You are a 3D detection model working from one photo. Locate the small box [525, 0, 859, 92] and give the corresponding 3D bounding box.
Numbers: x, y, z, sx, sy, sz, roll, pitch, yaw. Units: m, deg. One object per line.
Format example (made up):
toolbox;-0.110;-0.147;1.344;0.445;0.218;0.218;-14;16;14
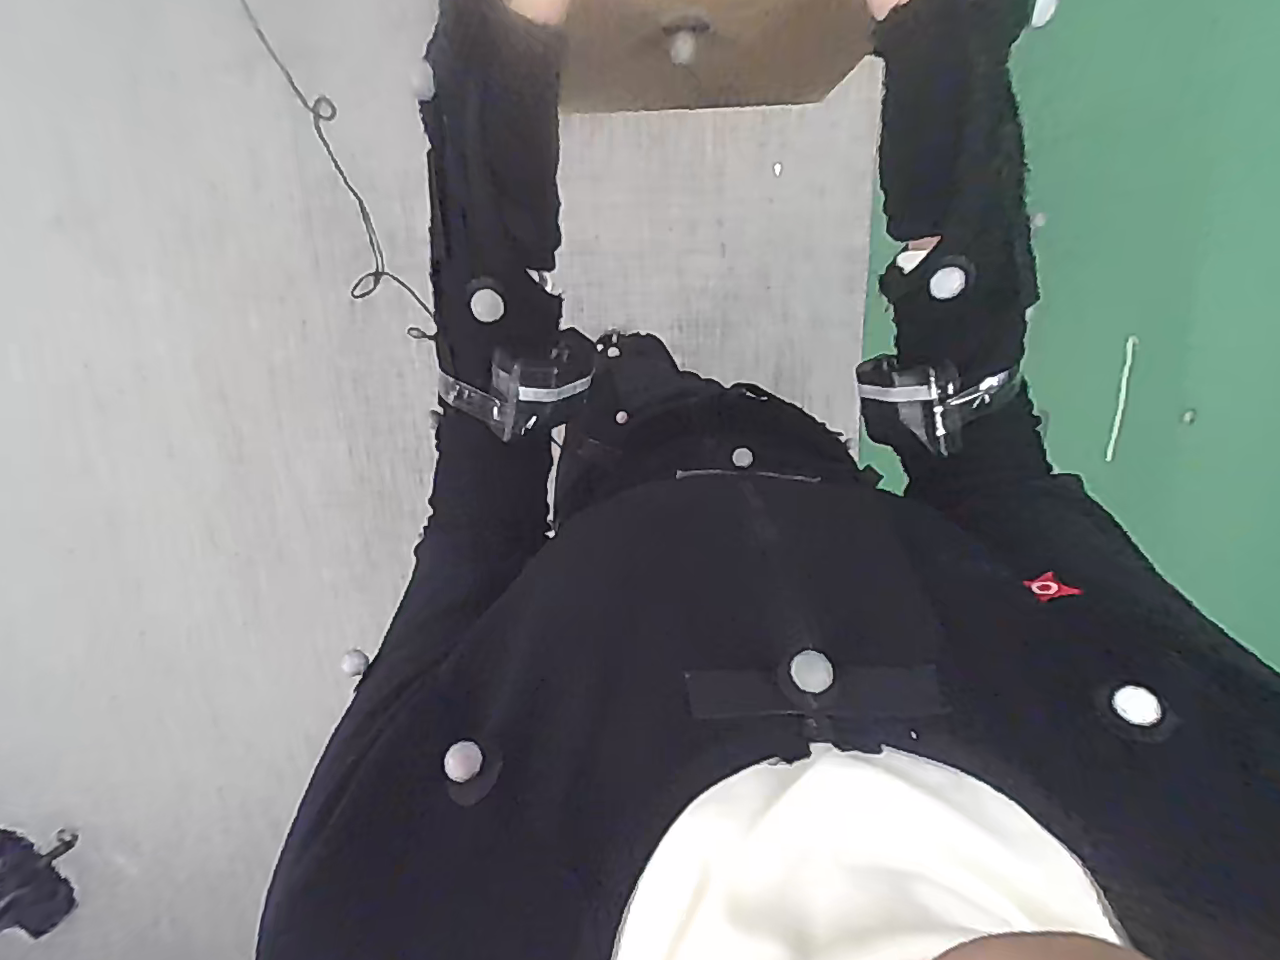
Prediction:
small box;0.025;-0.307;0.256;0.179;0.176;0.168;-2;110;0
